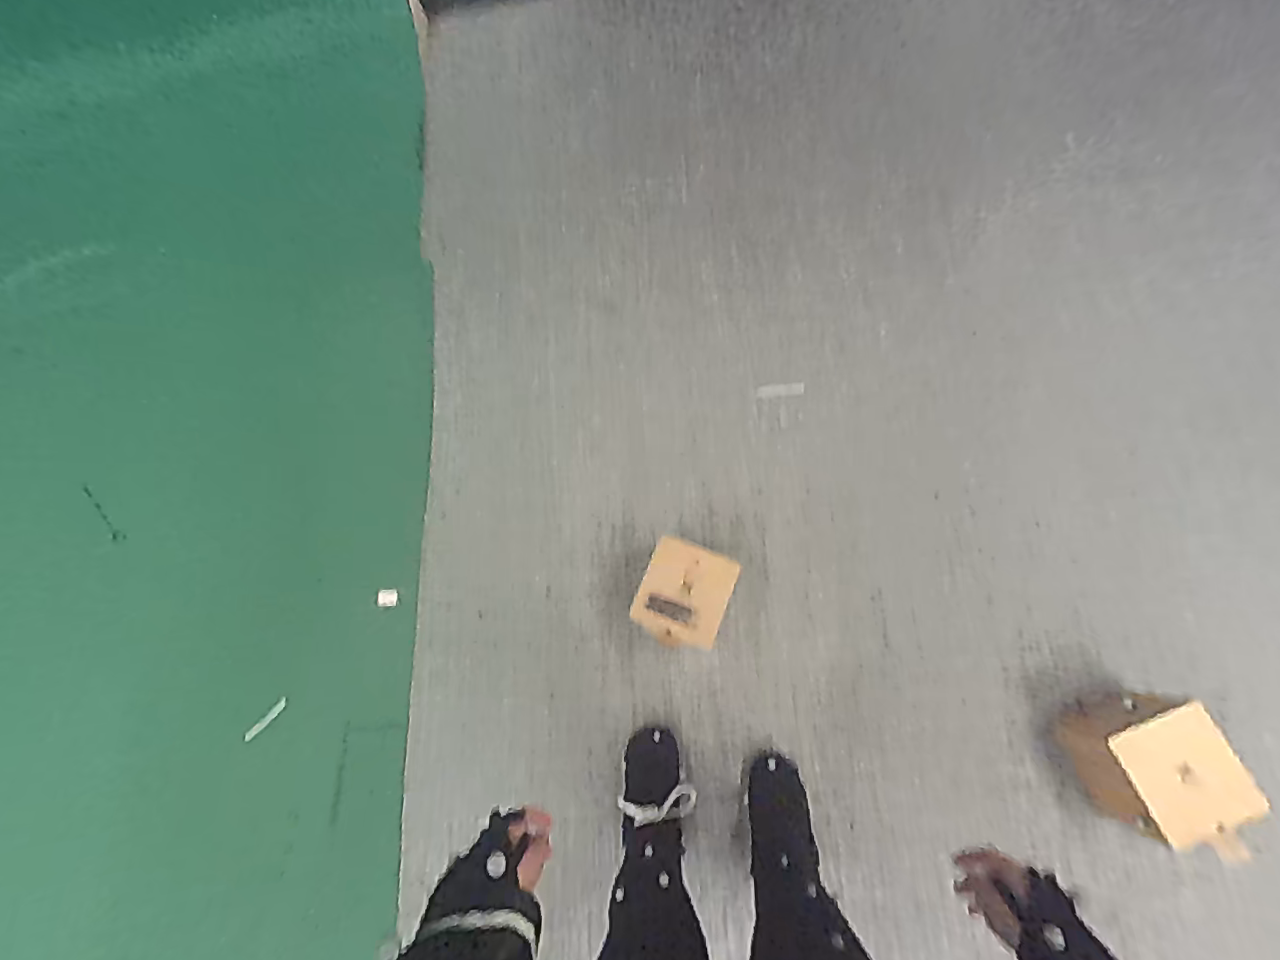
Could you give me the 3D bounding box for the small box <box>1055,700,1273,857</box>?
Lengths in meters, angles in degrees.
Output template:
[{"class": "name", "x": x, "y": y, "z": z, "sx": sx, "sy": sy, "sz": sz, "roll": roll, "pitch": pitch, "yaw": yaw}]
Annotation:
[{"class": "small box", "x": 0.877, "y": 0.495, "z": 0.930, "sx": 0.168, "sy": 0.176, "sz": 0.179, "roll": -24, "pitch": 74, "yaw": 0}]
